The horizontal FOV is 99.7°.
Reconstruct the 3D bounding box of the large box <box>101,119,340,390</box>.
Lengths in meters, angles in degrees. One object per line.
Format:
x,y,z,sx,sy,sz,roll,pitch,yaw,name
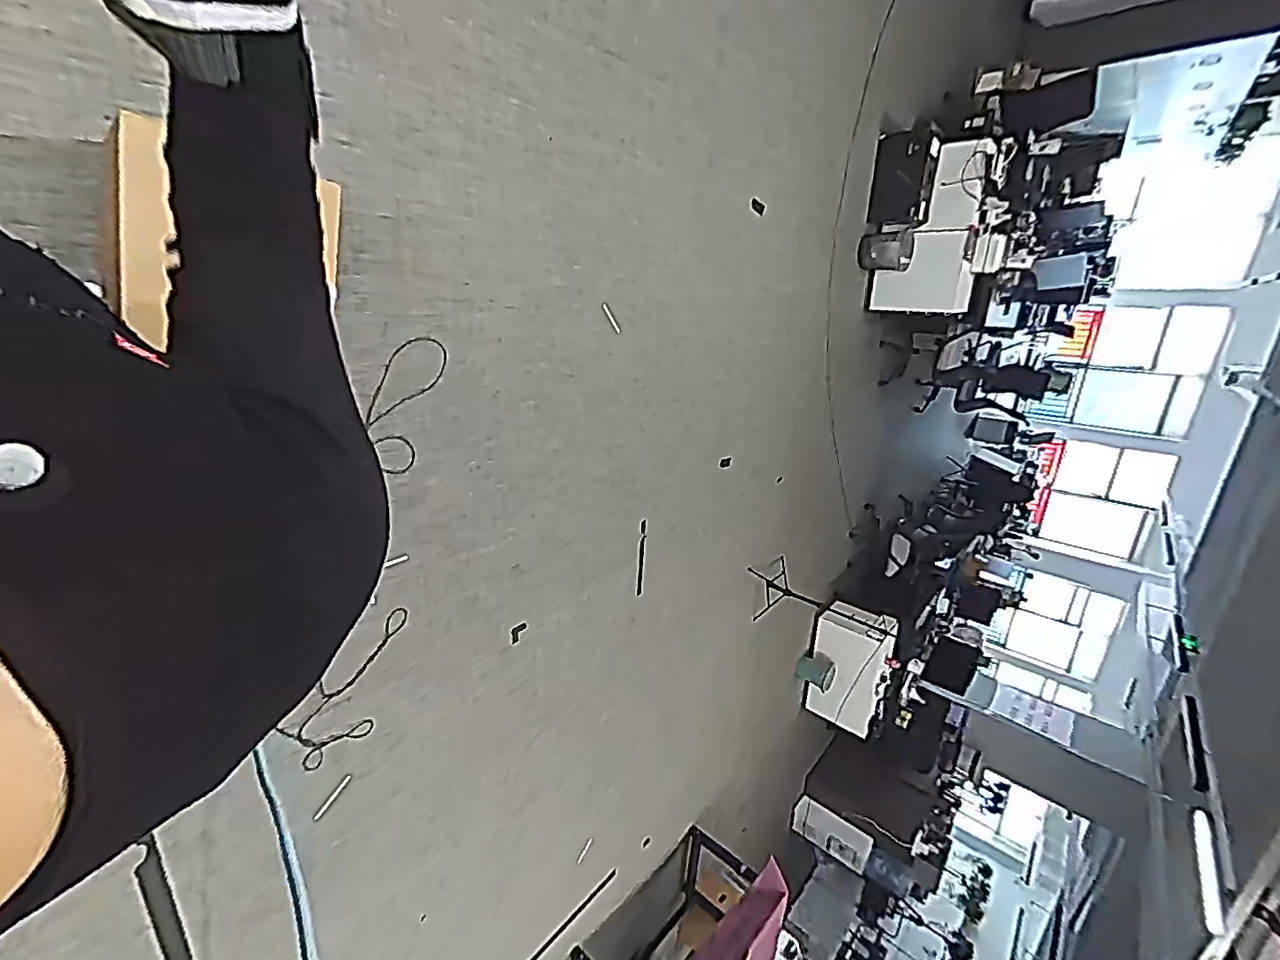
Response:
-0.829,-0.412,1.072,0.320,0.320,0.408,-2,107,-49,large box
